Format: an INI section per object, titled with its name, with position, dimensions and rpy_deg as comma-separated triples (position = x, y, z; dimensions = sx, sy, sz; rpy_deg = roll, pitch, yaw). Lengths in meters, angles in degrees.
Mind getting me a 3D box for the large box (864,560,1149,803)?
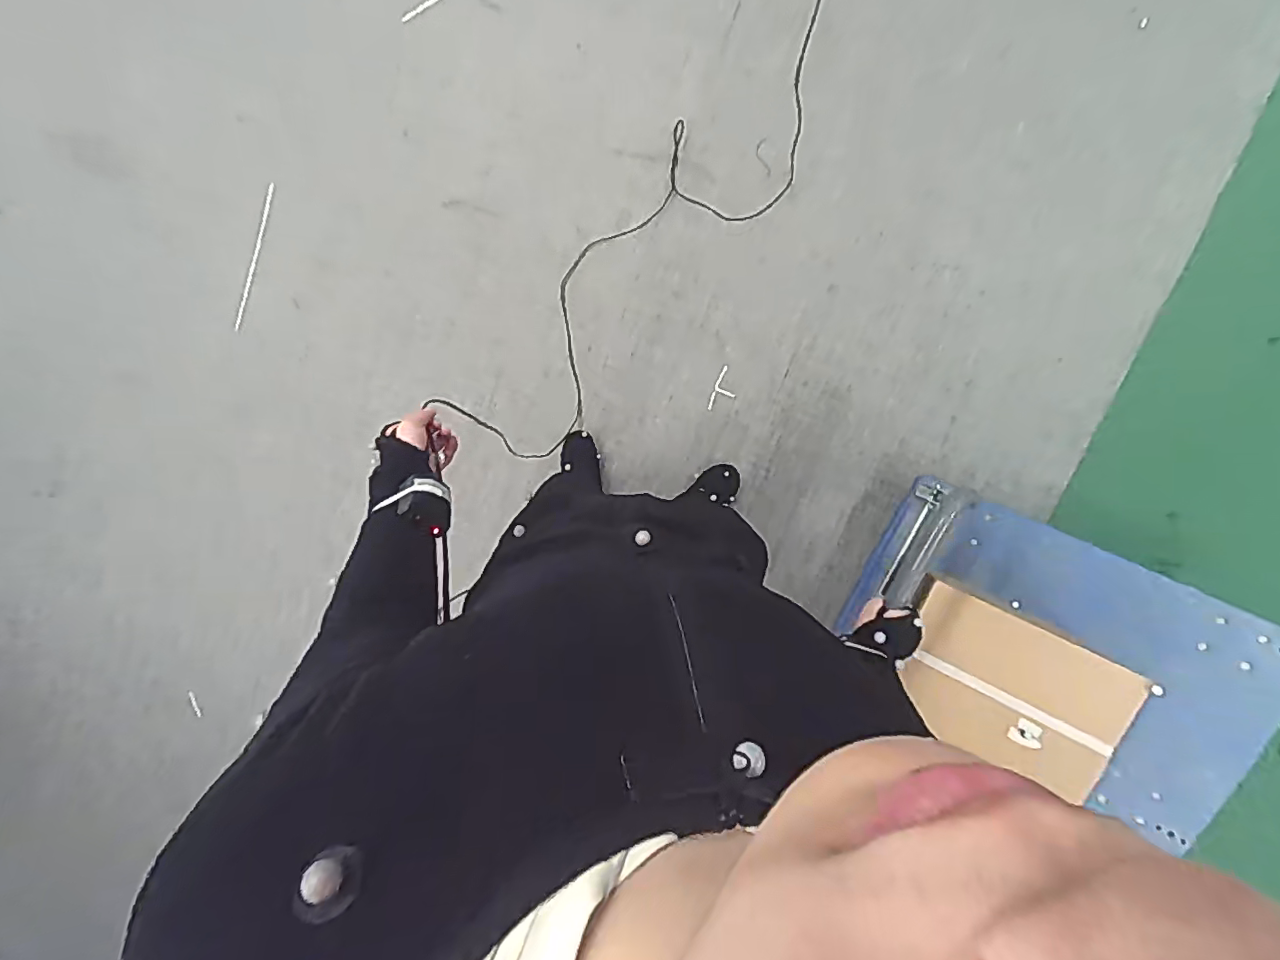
[large box]
position = 0.781, 0.419, 1.237
dimensions = 0.408, 0.320, 0.320
rpy_deg = 26, 98, 17
